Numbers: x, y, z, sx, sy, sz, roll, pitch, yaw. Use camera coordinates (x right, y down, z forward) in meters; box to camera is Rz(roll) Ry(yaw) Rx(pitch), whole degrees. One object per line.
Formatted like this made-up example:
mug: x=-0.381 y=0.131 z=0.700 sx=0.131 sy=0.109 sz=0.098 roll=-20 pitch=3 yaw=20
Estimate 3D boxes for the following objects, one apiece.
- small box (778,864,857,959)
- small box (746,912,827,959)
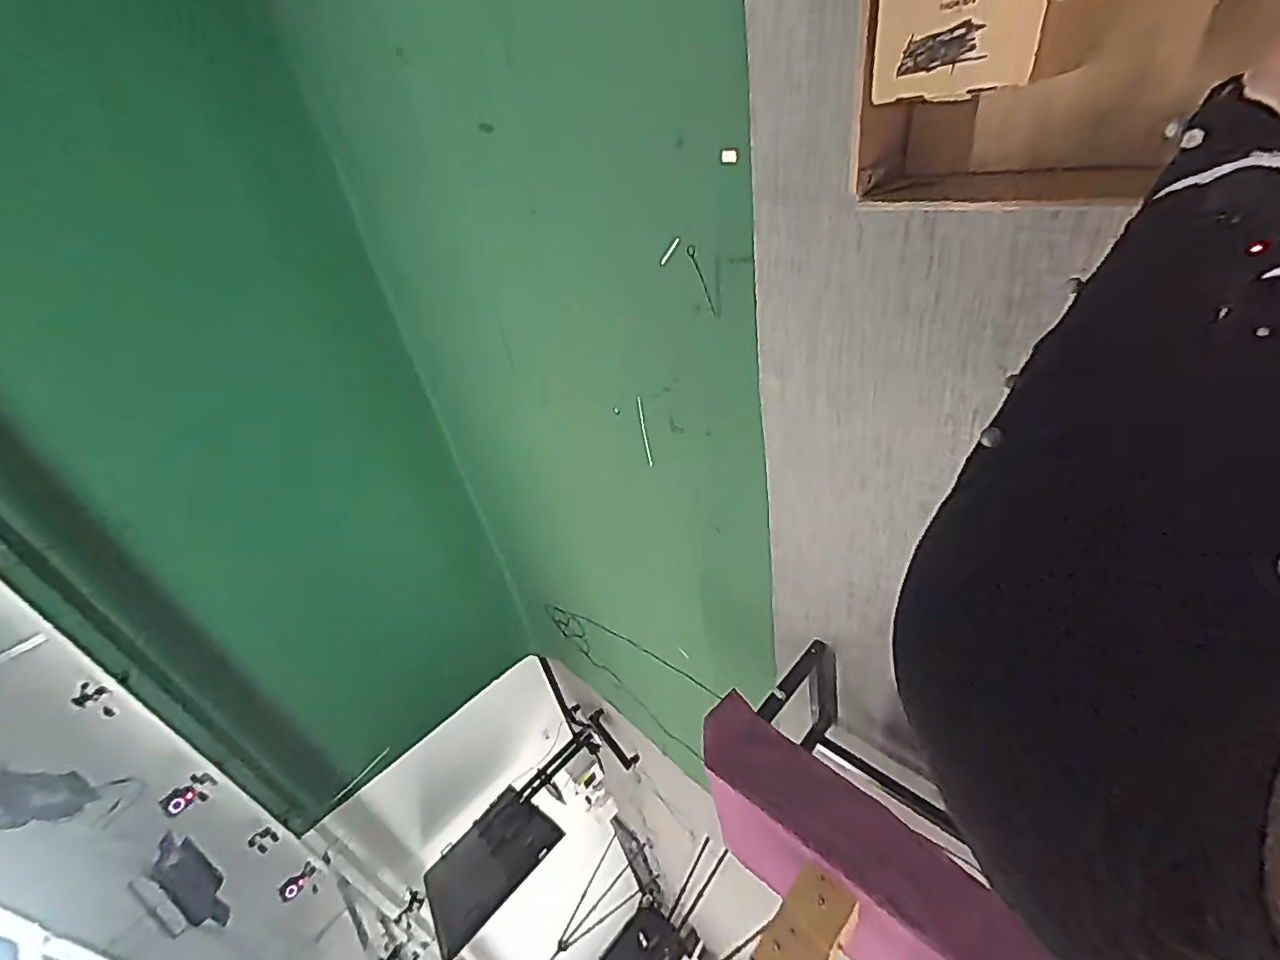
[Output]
small box: x=0.535 y=1.311 z=1.625 sx=0.168 sy=0.176 sz=0.179 roll=23 pitch=136 yaw=43
small box: x=0.420 y=1.393 z=1.543 sx=0.168 sy=0.176 sz=0.179 roll=25 pitch=138 yaw=42
